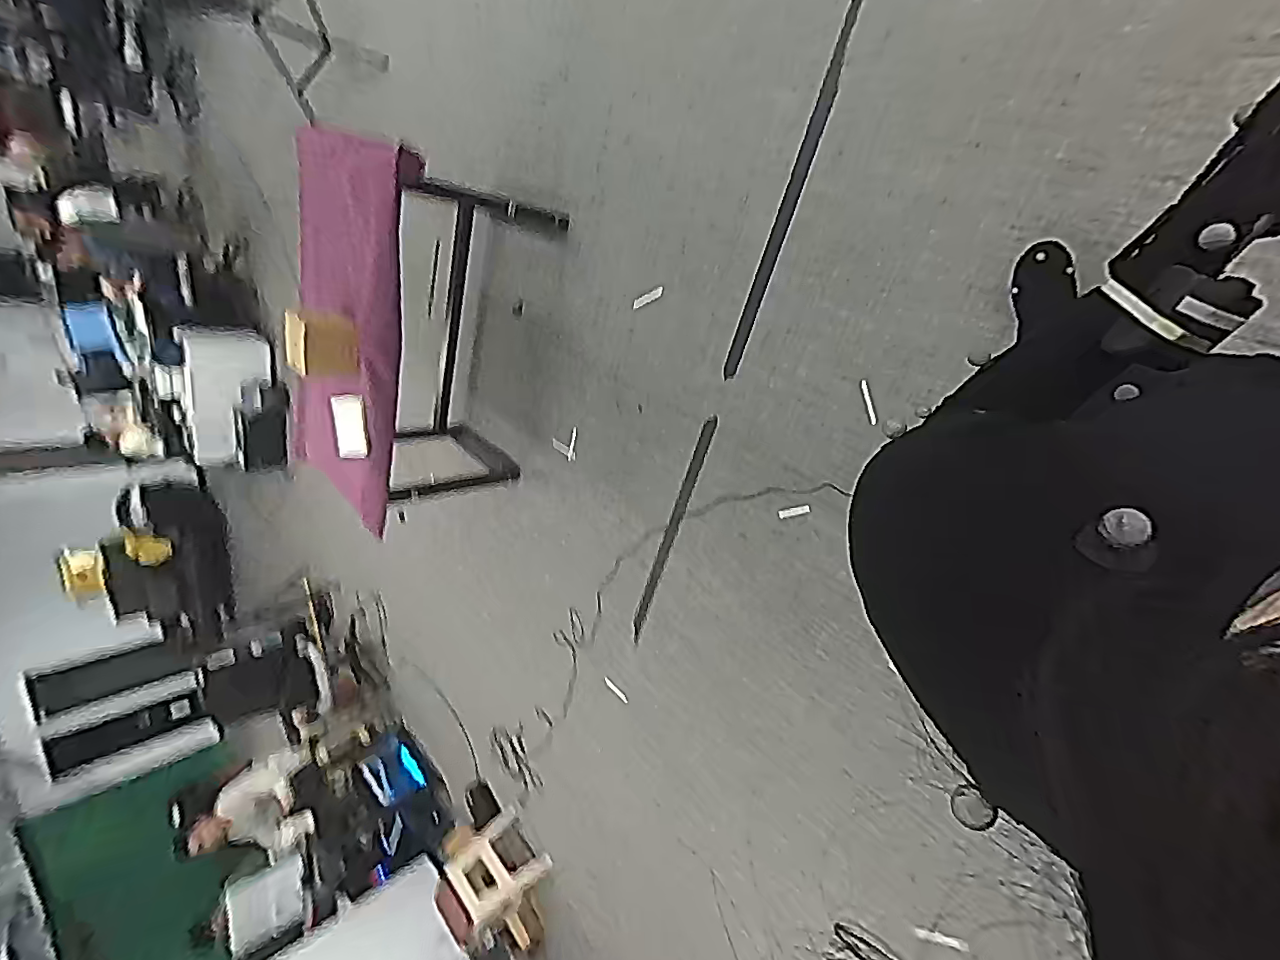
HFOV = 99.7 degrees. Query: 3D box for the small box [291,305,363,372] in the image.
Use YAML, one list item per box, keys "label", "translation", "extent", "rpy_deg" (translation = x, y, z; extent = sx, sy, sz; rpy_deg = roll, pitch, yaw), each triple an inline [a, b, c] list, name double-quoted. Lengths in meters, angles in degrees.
- label: "small box"
  translation: [-1.065, -0.480, 1.843]
  extent: [0.168, 0.176, 0.179]
  rpy_deg: [33, 119, 33]
